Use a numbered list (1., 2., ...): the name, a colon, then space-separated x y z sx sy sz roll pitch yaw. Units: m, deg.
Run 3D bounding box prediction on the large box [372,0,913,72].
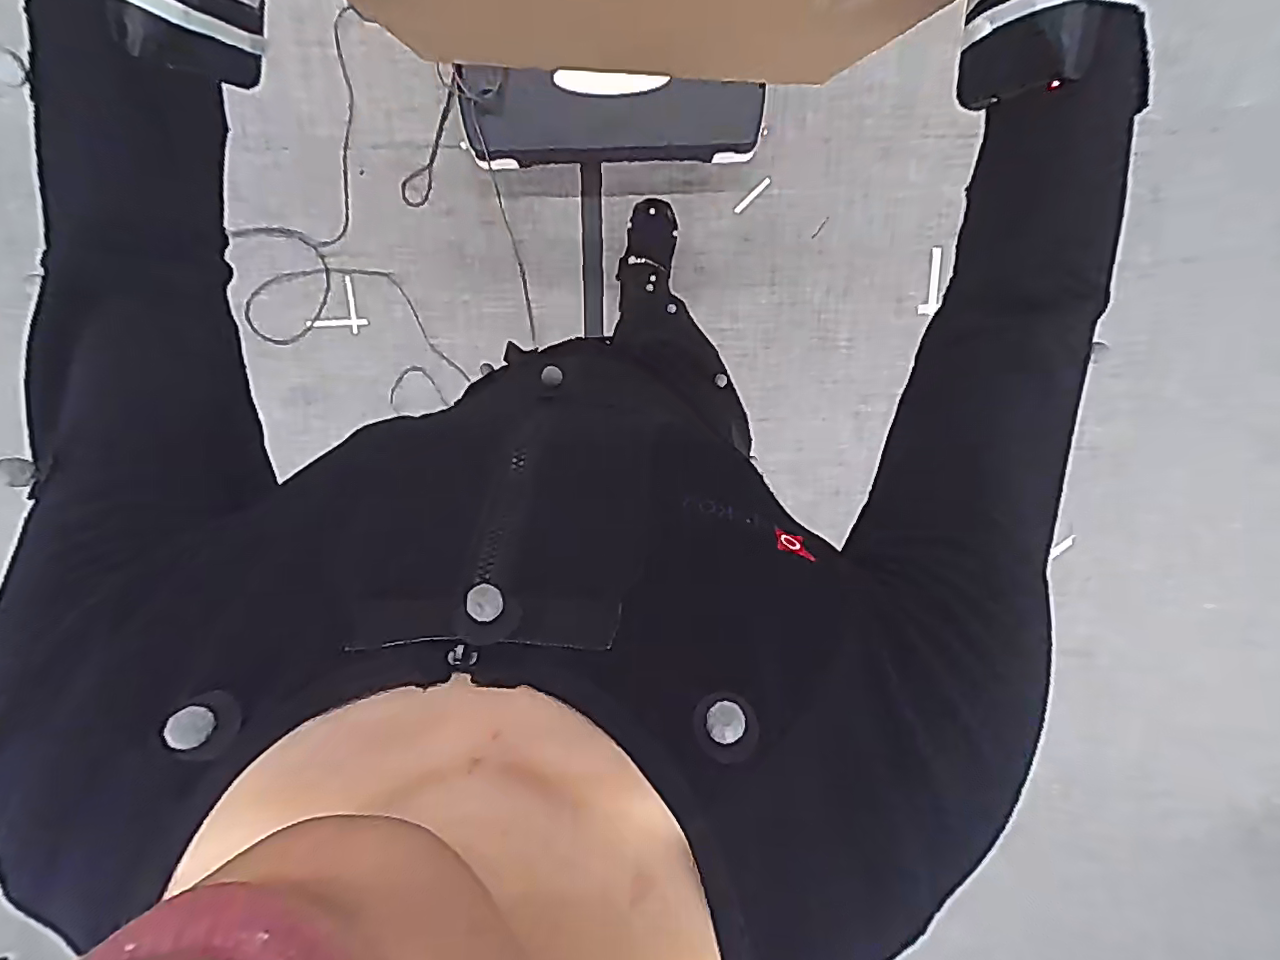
1. large box: -0.001 -0.489 0.346 0.408 0.320 0.320 0 116 -3
